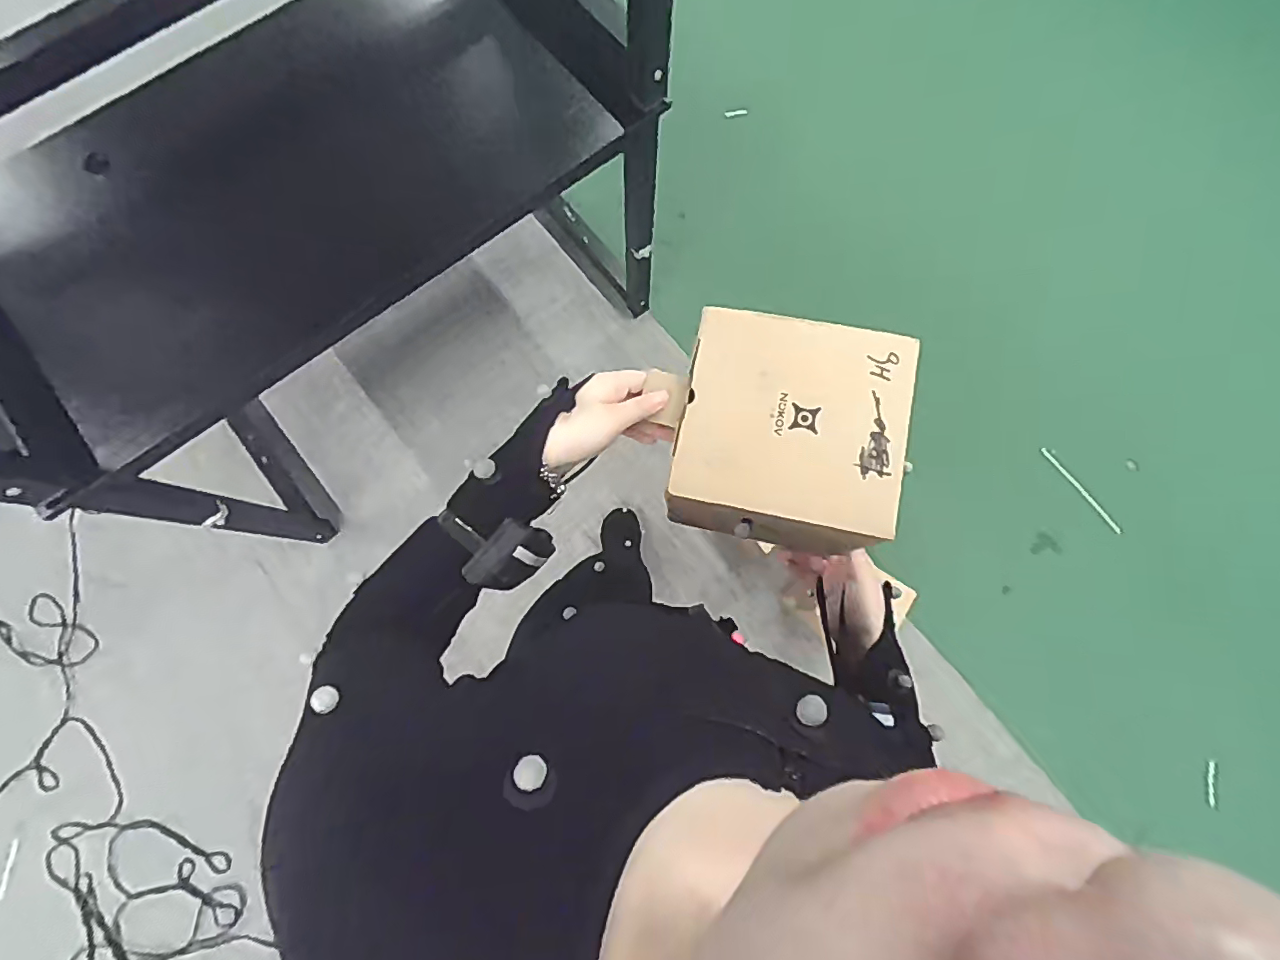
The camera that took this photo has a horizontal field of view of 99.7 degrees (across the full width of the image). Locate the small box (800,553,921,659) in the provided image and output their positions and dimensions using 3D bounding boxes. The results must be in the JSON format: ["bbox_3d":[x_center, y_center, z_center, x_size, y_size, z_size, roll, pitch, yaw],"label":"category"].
[{"bbox_3d":[0.499,0.288,1.254,0.179,0.176,0.168,32,82,5],"label":"small box"}]

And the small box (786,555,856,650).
[{"bbox_3d":[0.512,0.318,1.413,0.179,0.176,0.168,45,82,7],"label":"small box"}]
